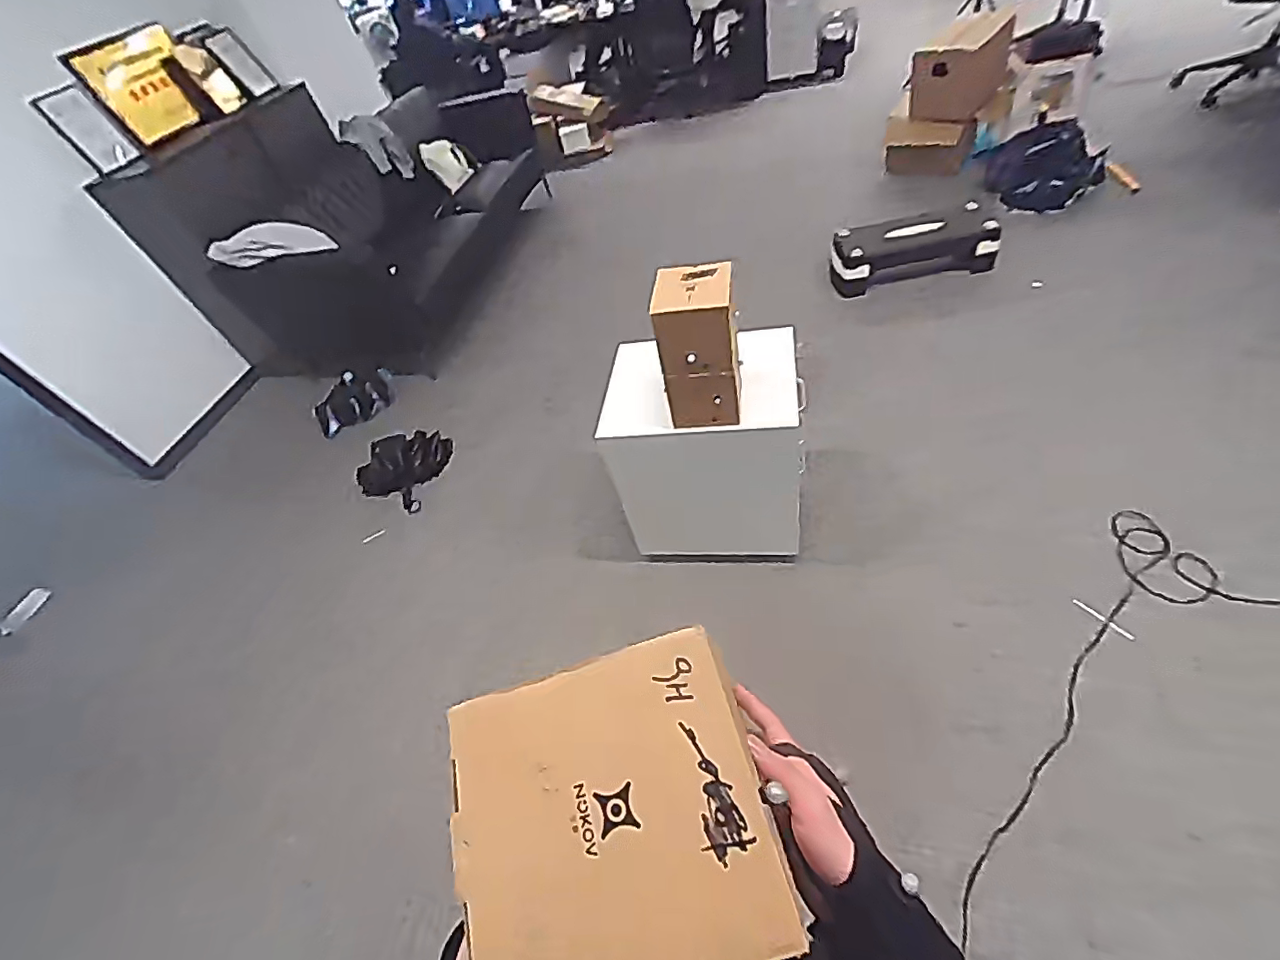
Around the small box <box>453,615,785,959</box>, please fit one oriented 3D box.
[{"bbox_3d":[-0.007,0.214,0.382,0.179,0.176,0.168,-18,62,4],"label":"small box"}]

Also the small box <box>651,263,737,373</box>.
[{"bbox_3d":[0.128,-0.359,1.209,0.168,0.176,0.179,0,50,14],"label":"small box"}]

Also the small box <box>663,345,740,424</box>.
[{"bbox_3d":[0.158,-0.250,1.329,0.168,0.176,0.179,-1,48,13],"label":"small box"}]
